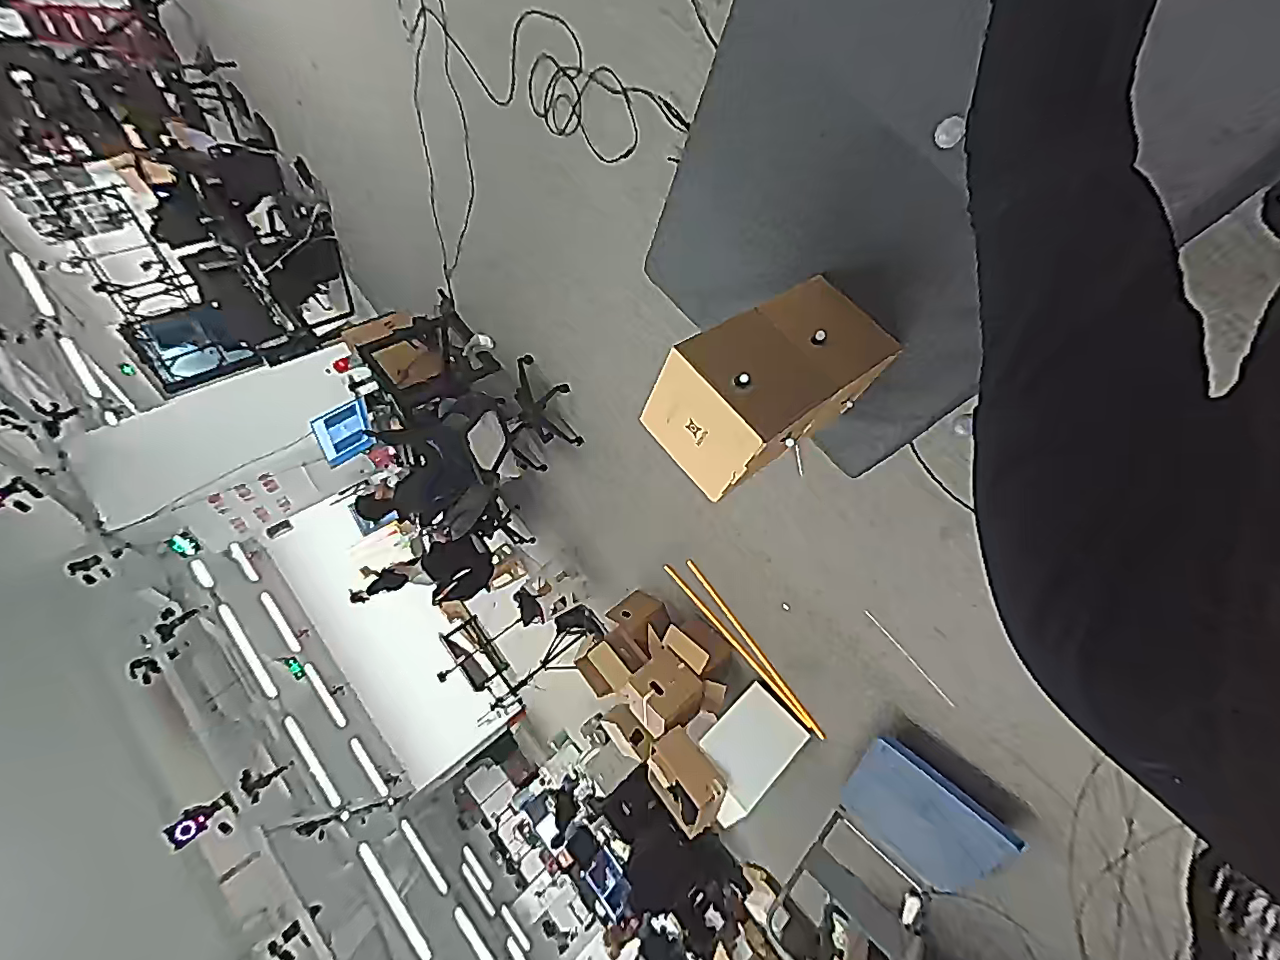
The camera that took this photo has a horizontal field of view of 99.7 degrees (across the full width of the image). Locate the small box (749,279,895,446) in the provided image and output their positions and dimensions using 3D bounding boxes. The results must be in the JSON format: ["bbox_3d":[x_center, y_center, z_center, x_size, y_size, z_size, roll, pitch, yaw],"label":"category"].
[{"bbox_3d":[0.254,-0.192,0.852,0.179,0.176,0.168,48,150,14],"label":"small box"}]

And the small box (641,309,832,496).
[{"bbox_3d":[0.135,-0.114,0.773,0.179,0.176,0.168,50,149,13],"label":"small box"}]
